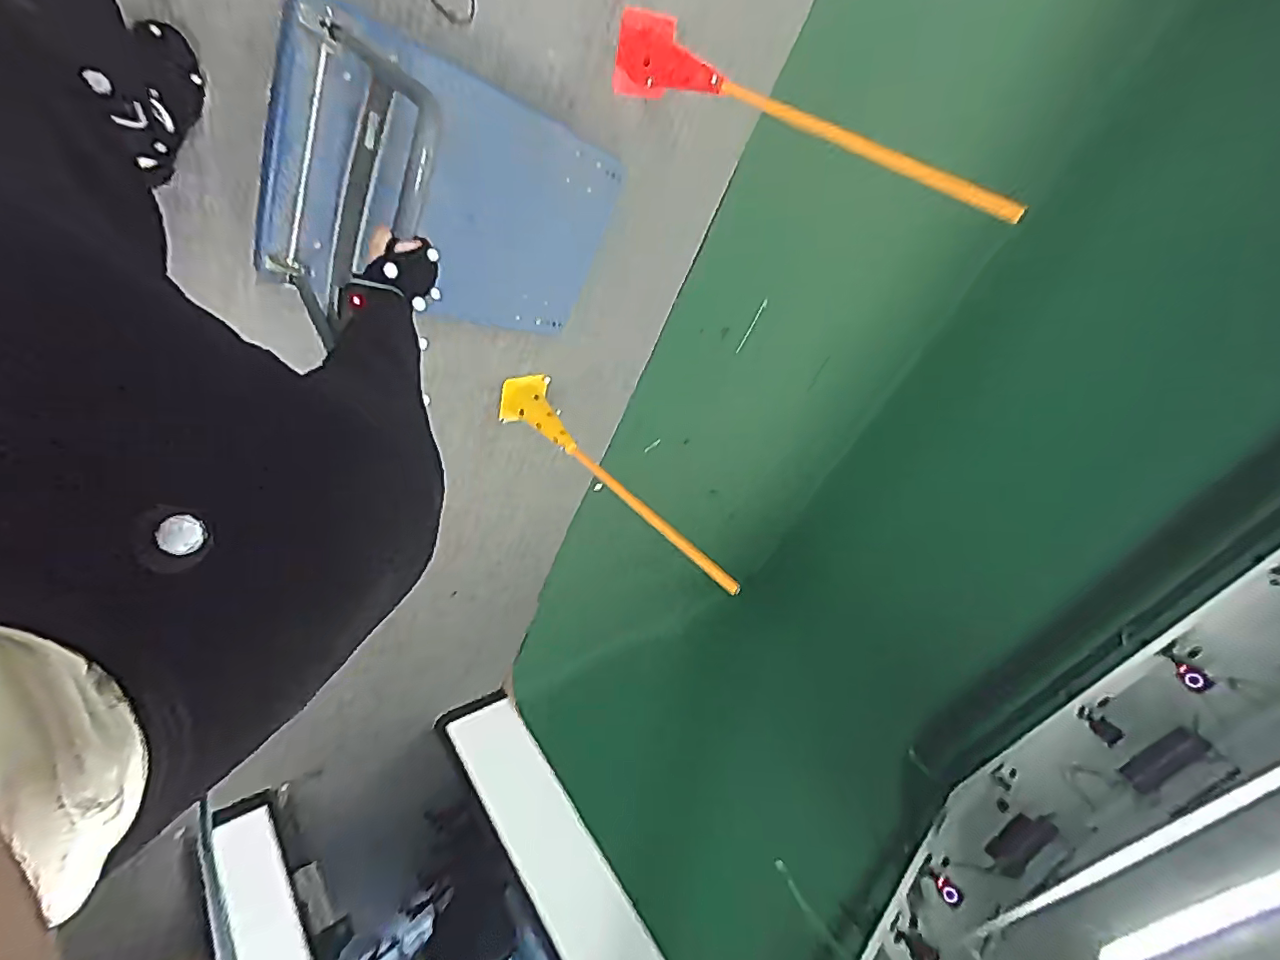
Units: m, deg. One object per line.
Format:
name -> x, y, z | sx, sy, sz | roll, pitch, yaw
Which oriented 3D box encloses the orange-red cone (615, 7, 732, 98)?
orange-red cone -> 0.120, -1.151, 1.510 | 0.198, 0.360, 0.199 | -21, 142, -36
